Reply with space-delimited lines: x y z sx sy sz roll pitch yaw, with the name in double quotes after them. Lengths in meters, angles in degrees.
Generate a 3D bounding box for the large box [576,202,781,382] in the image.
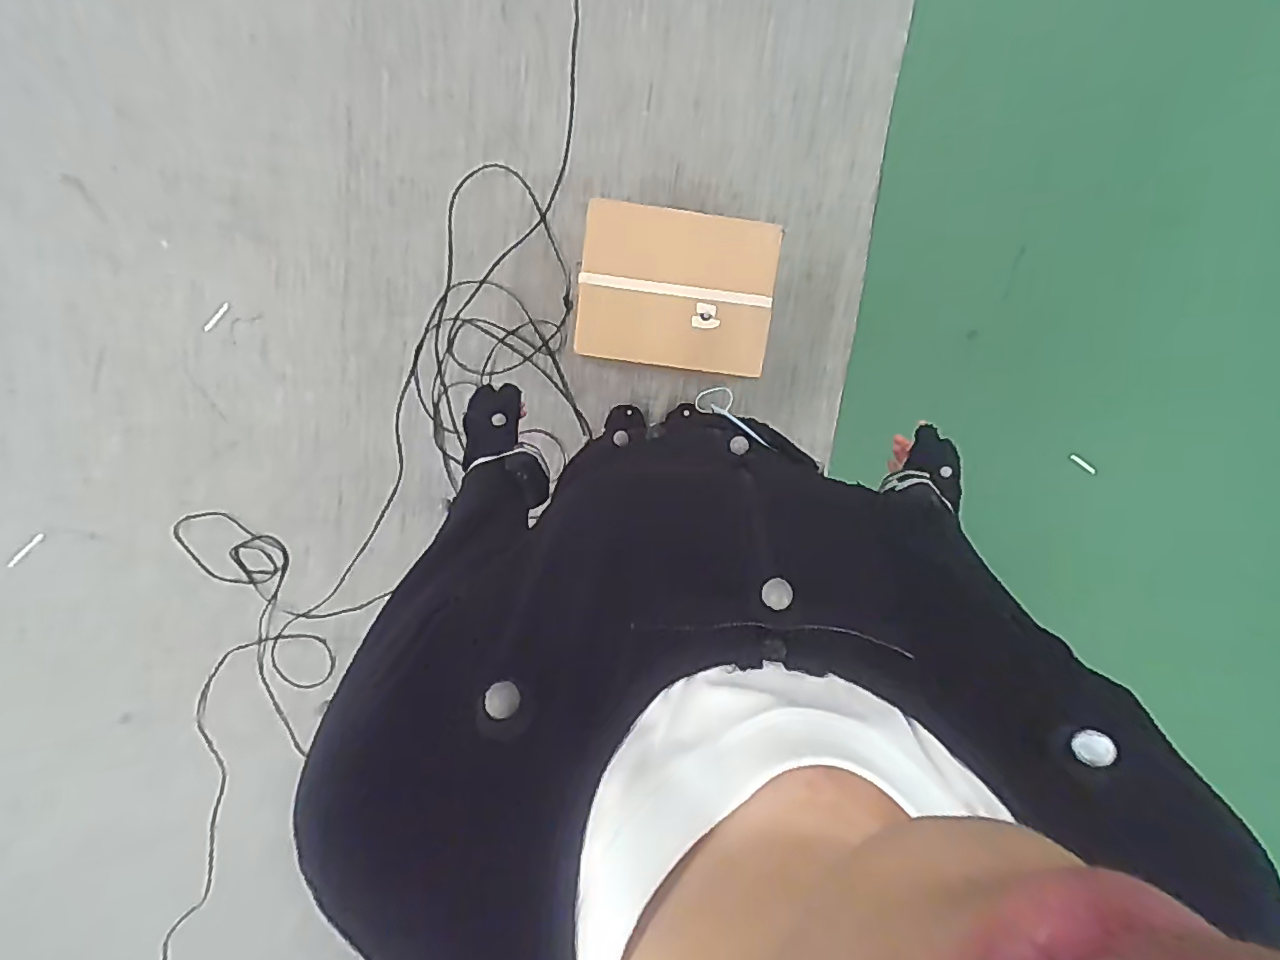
0.070 -0.413 1.270 0.408 0.320 0.320 7 99 -3 "large box"
